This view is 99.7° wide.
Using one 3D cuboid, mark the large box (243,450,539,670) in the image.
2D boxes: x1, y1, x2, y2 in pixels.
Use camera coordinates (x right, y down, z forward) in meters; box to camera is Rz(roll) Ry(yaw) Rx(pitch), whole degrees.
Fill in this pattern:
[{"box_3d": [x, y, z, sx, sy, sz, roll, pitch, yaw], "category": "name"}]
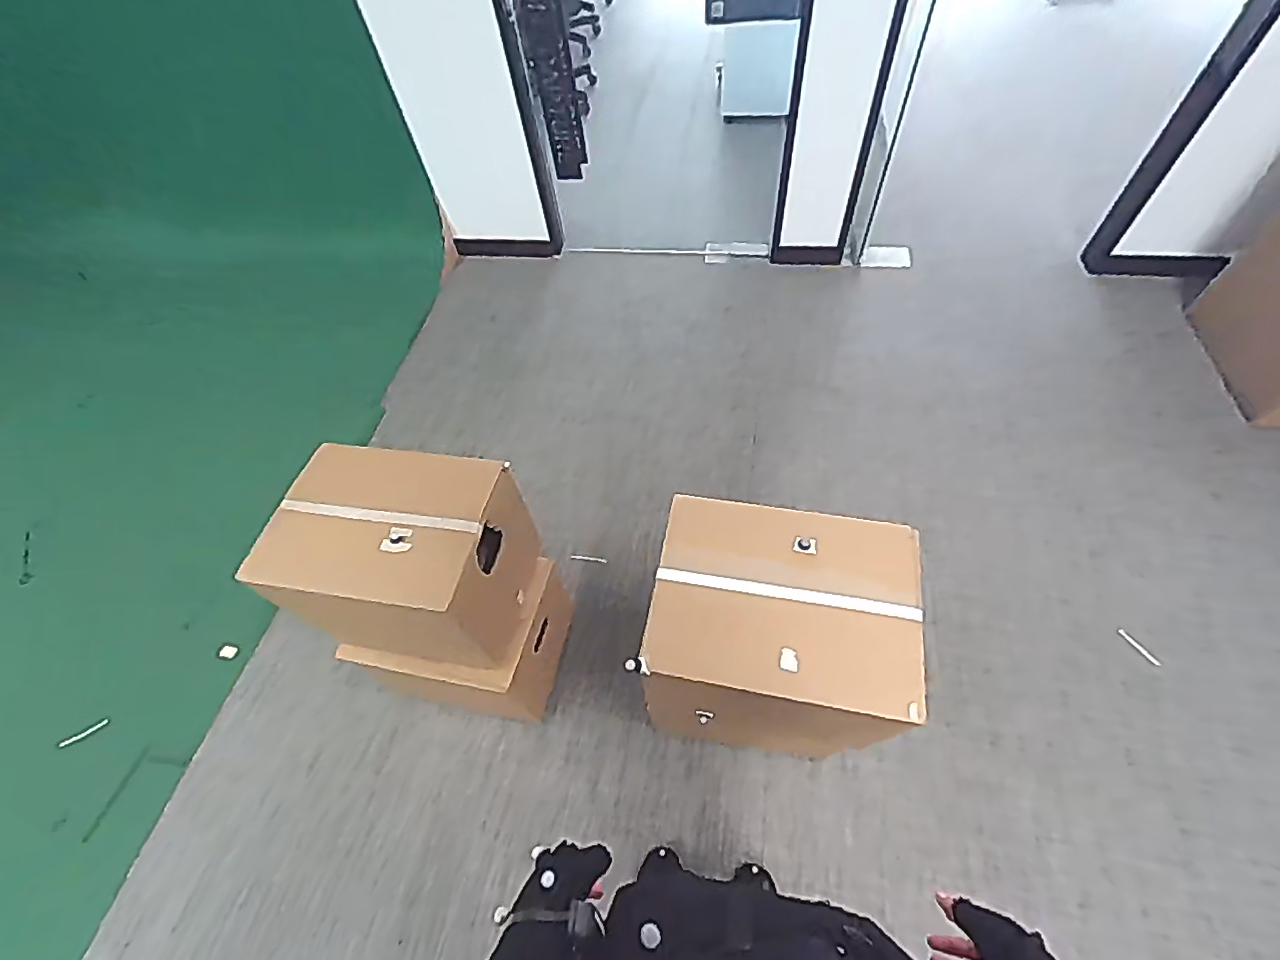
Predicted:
[{"box_3d": [-0.467, 0.167, 1.117, 0.408, 0.320, 0.320, 7, 54, 9], "category": "large box"}]
